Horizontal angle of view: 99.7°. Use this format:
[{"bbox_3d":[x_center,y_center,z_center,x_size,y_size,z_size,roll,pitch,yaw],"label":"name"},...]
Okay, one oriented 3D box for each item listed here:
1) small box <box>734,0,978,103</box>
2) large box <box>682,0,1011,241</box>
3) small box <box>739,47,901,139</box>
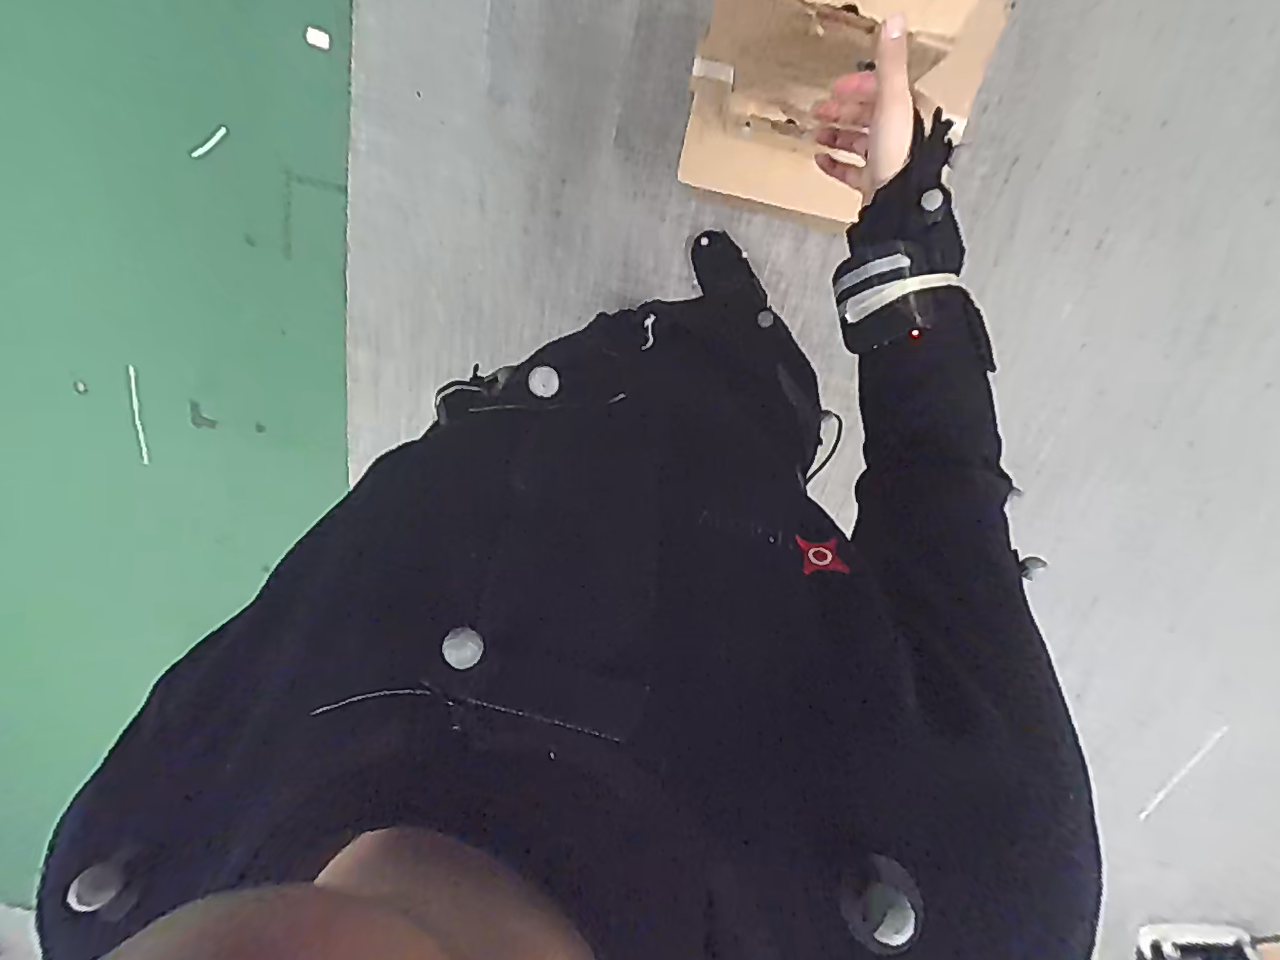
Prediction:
[{"bbox_3d":[0.179,-0.428,0.420,0.168,0.176,0.179,17,114,0],"label":"small box"},{"bbox_3d":[0.304,-0.624,0.942,0.408,0.320,0.320,14,115,2],"label":"large box"},{"bbox_3d":[0.208,-0.493,0.567,0.168,0.176,0.179,20,114,0],"label":"small box"}]
